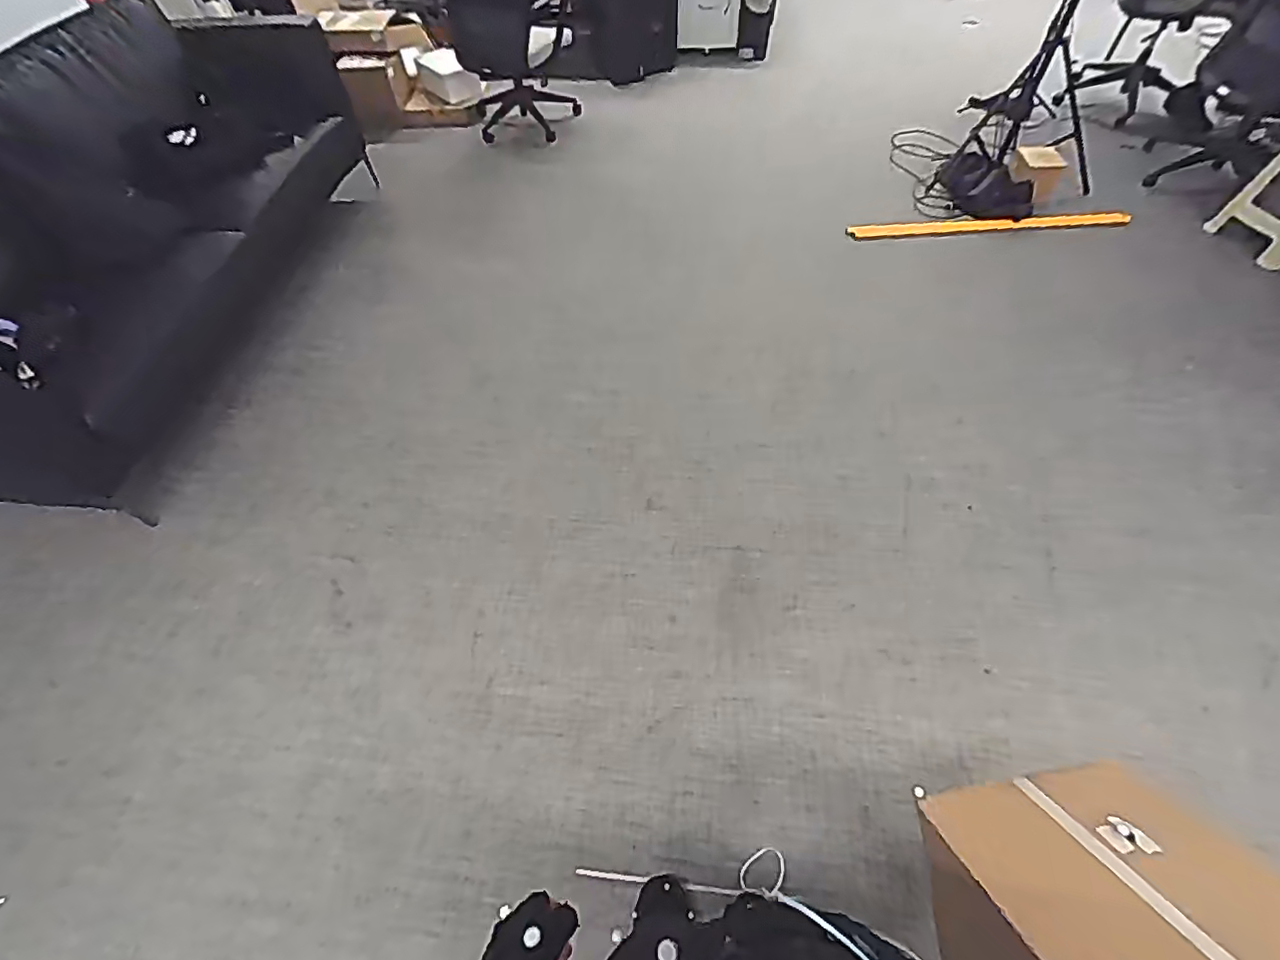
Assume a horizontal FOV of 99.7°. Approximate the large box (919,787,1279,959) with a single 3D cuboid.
[{"bbox_3d":[0.602,0.650,0.627,0.320,0.408,0.320,-10,93,-1],"label":"large box"}]
